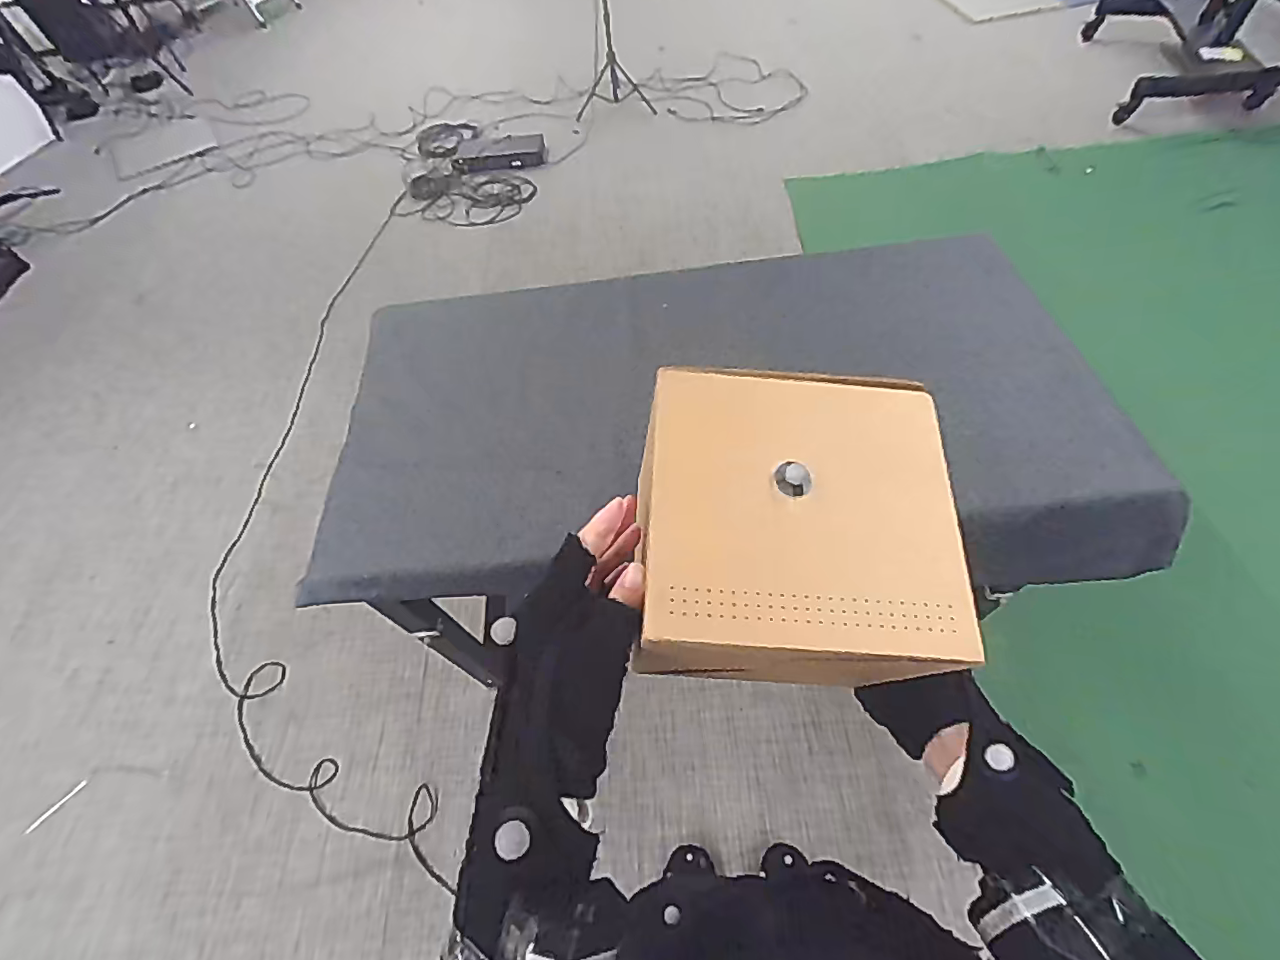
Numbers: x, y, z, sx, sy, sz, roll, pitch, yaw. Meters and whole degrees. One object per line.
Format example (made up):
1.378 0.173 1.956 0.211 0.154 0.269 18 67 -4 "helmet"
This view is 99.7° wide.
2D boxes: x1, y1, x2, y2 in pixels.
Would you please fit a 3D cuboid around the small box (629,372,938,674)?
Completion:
0.089 0.044 0.393 0.179 0.168 0.176 5 65 -3 "small box"
